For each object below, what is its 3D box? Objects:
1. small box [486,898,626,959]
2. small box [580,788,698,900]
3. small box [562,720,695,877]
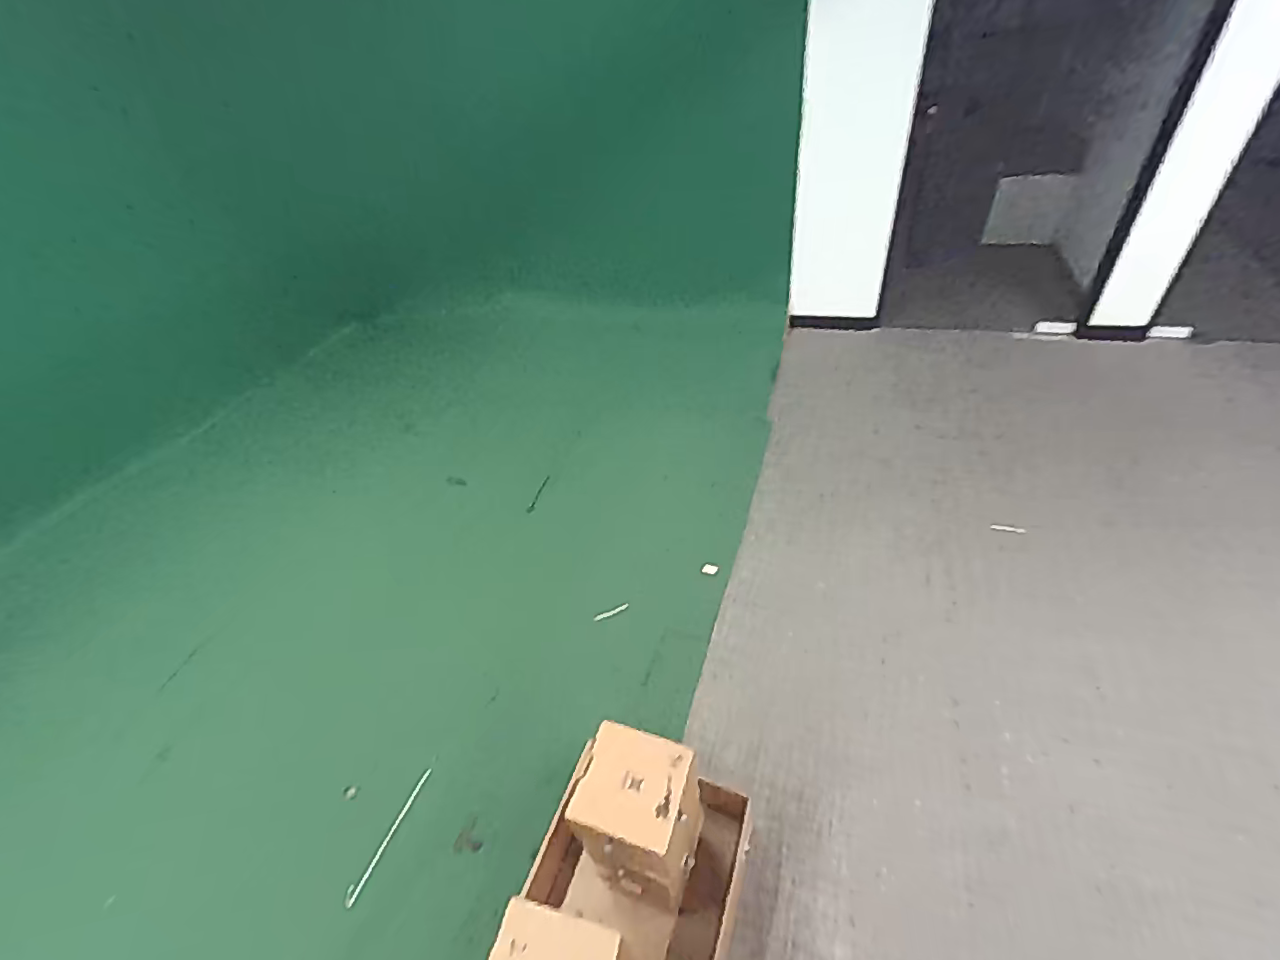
[{"bbox_3d":[-0.125,0.733,0.762,0.179,0.176,0.168,6,41,14],"label":"small box"},{"bbox_3d":[0.007,0.682,1.056,0.179,0.176,0.168,13,46,19],"label":"small box"},{"bbox_3d":[-0.010,0.558,0.947,0.179,0.176,0.168,9,44,19],"label":"small box"}]
